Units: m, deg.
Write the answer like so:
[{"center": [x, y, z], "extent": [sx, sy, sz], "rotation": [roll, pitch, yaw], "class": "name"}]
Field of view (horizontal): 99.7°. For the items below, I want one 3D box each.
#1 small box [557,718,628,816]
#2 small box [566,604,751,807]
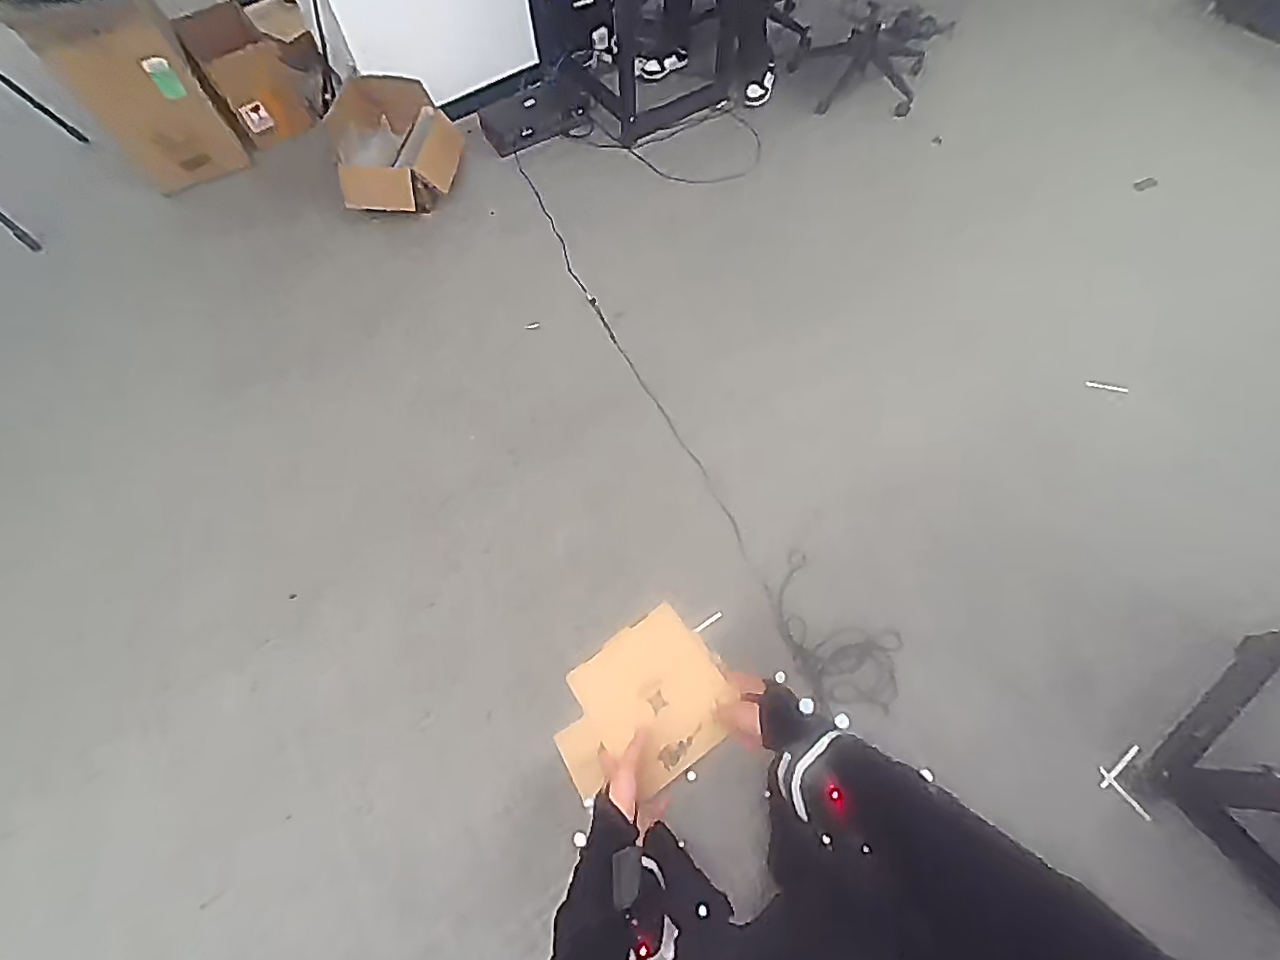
[{"center": [-0.055, 0.579, 1.162], "extent": [0.179, 0.176, 0.168], "rotation": [-30, 67, -9], "class": "small box"}, {"center": [0.031, 0.300, 0.727], "extent": [0.168, 0.176, 0.179], "rotation": [-36, 64, -5], "class": "small box"}]
